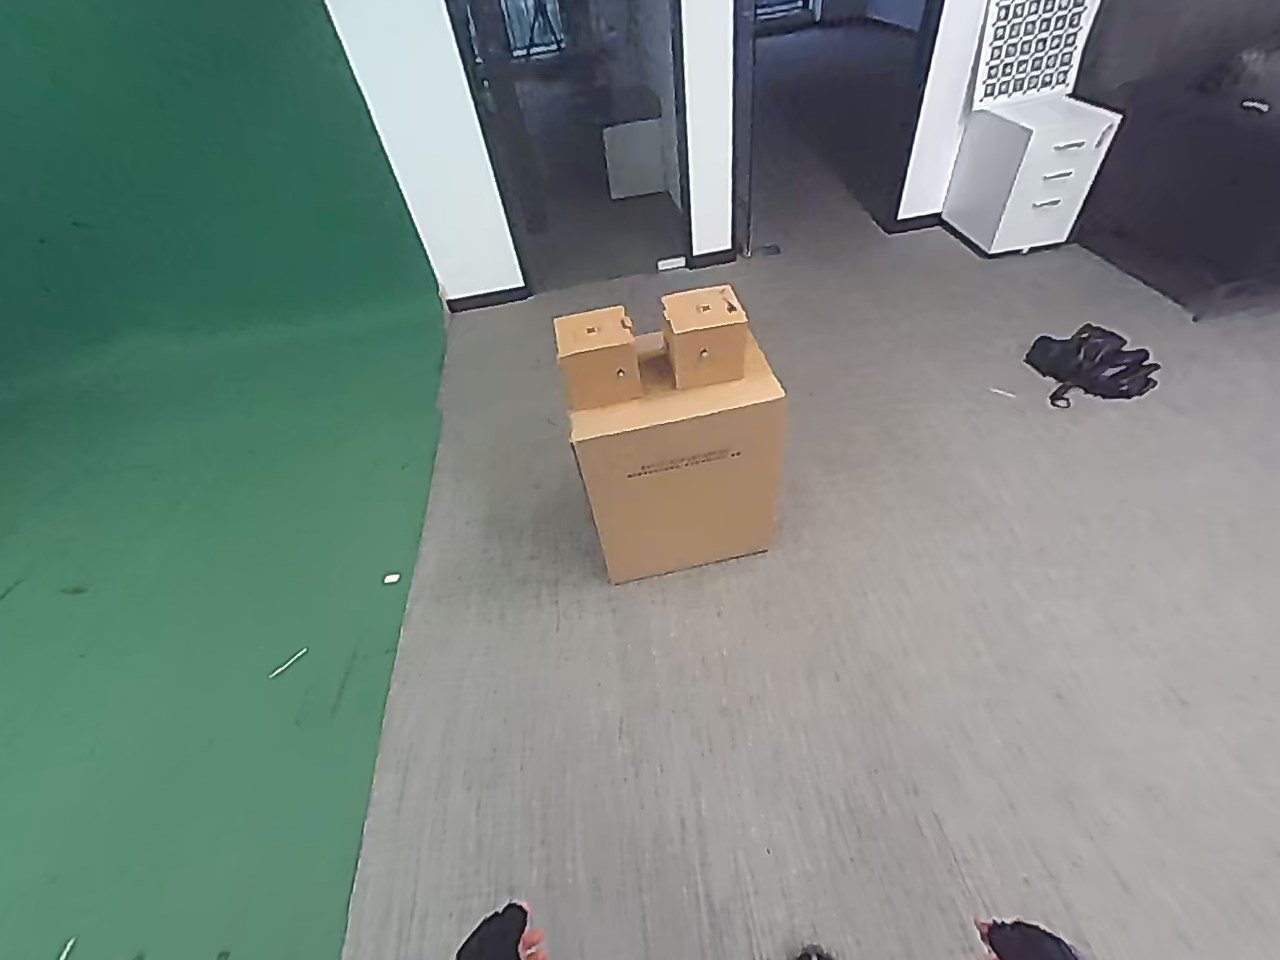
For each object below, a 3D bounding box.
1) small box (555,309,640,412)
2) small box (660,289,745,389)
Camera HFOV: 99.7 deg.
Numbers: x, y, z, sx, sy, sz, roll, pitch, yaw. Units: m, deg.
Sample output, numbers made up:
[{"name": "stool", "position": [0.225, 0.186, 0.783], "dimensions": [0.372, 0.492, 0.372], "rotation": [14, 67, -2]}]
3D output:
[{"name": "small box", "position": [-0.101, -0.293, 1.337], "dimensions": [0.179, 0.176, 0.168], "rotation": [-13, 48, -2]}, {"name": "small box", "position": [0.155, -0.347, 1.347], "dimensions": [0.179, 0.176, 0.168], "rotation": [-11, 50, -1]}]
